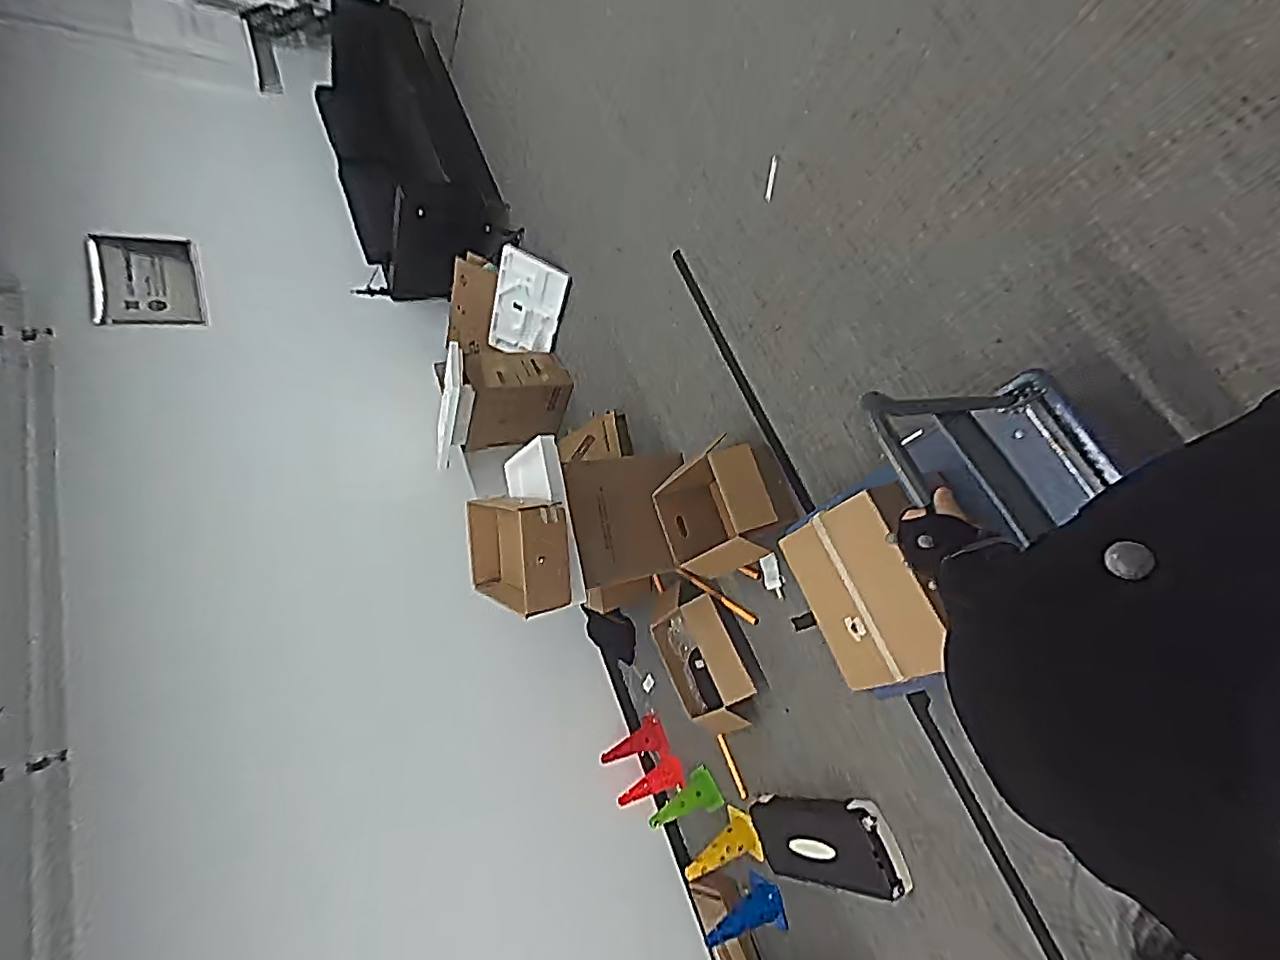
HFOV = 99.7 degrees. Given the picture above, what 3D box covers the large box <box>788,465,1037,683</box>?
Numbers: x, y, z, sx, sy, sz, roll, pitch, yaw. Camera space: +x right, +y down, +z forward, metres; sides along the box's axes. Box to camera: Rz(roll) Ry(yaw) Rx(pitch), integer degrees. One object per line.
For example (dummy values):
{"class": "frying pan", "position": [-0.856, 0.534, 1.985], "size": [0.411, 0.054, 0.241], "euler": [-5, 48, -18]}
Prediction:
{"class": "large box", "position": [0.649, 0.222, 1.326], "size": [0.320, 0.320, 0.408], "euler": [-48, 59, 52]}
